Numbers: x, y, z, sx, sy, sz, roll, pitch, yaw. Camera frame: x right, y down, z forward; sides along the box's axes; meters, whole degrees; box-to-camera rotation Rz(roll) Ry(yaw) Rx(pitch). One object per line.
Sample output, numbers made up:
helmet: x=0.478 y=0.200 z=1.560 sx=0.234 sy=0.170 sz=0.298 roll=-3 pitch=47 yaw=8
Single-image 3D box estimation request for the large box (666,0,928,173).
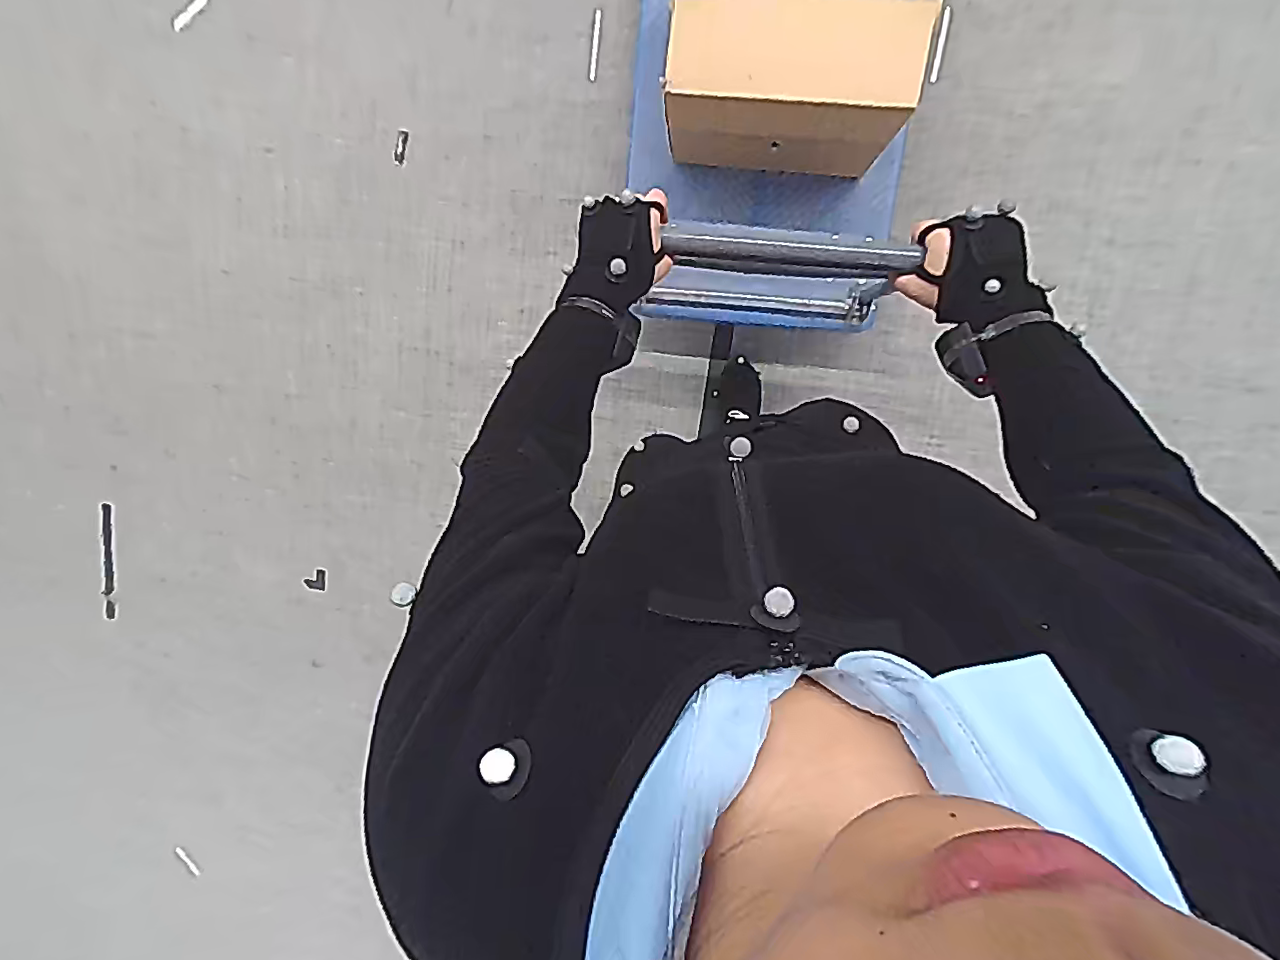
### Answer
large box: x=0.273 y=-0.795 z=1.004 sx=0.408 sy=0.320 sz=0.320 roll=7 pitch=101 yaw=6
